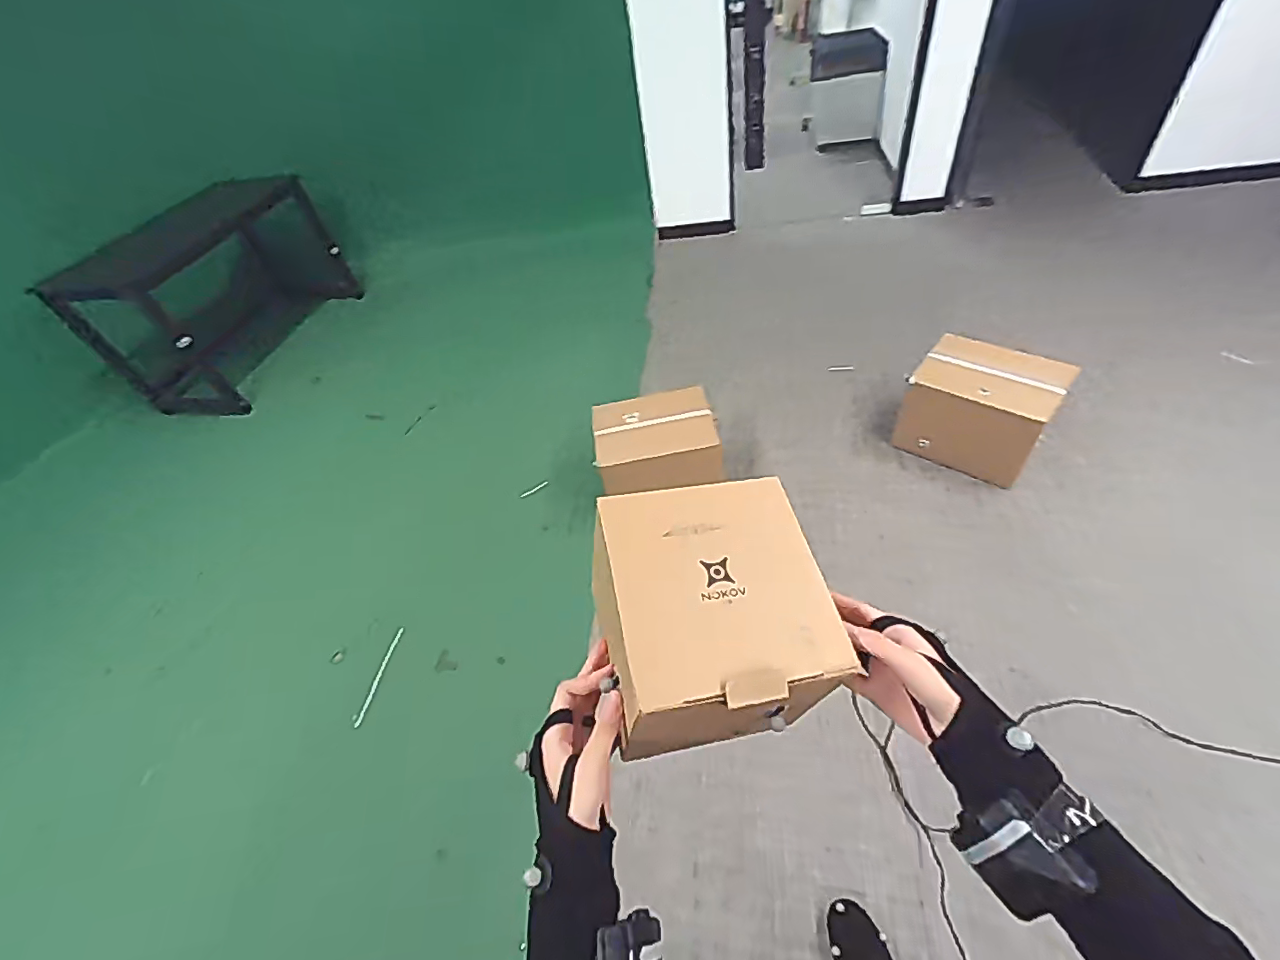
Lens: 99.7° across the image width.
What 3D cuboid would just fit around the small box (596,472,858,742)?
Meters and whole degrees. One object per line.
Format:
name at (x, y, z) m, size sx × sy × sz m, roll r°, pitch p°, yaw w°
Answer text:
small box at (0.054, 0.117, 0.477) m, size 0.168 × 0.176 × 0.179 m, roll -5°, pitch 53°, yaw -11°

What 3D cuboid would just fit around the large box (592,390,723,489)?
large box at (0.066, -0.072, 1.933) m, size 0.408 × 0.320 × 0.320 m, roll -12°, pitch 46°, yaw 3°
